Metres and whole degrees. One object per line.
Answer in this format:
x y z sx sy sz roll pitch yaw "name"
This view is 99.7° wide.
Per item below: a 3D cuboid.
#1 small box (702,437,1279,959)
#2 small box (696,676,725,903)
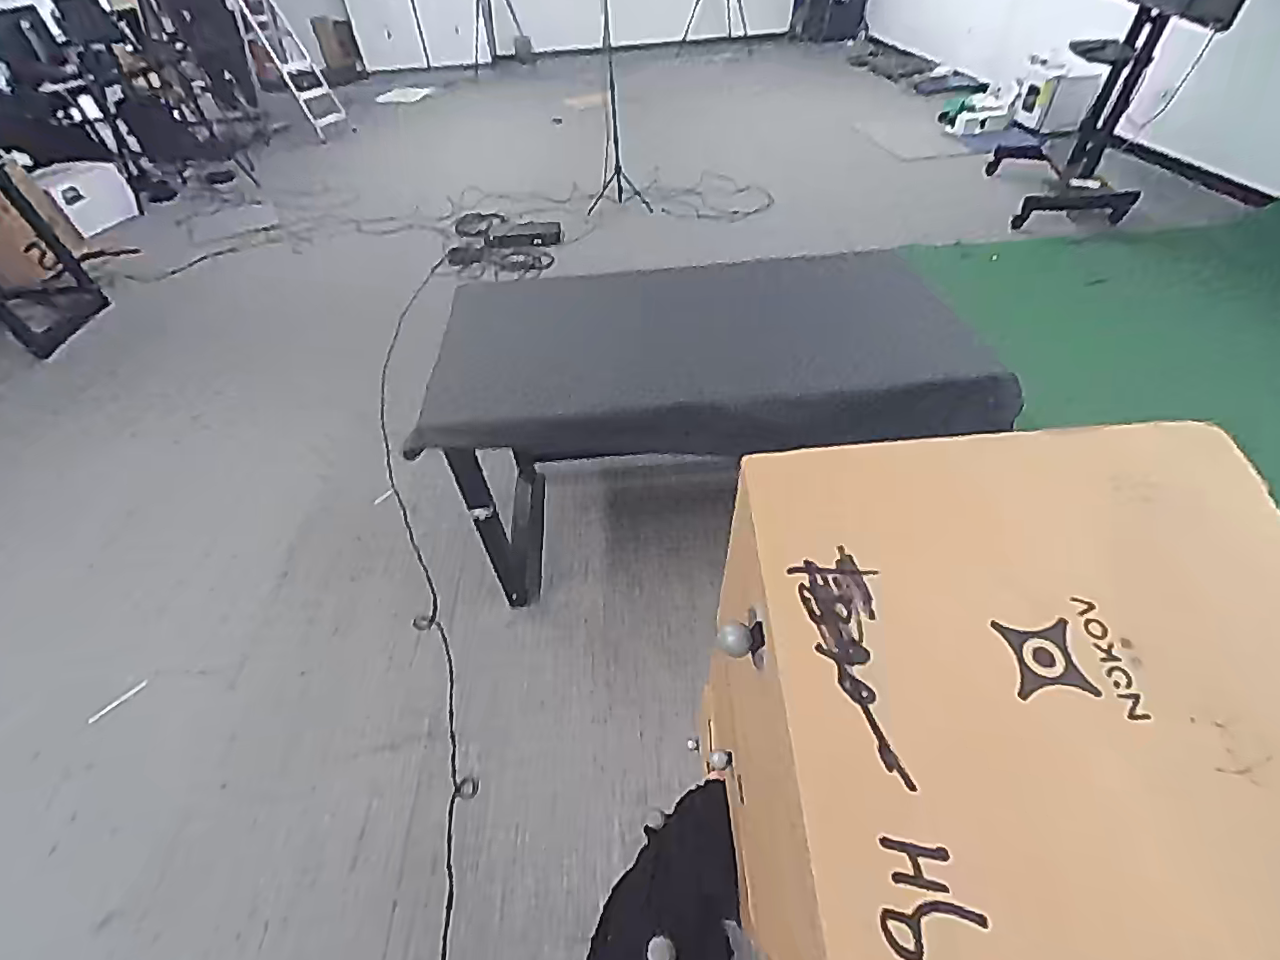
0.122 0.098 0.232 0.179 0.176 0.168 -3 56 3 "small box"
0.141 0.285 0.498 0.179 0.176 0.168 0 57 3 "small box"
